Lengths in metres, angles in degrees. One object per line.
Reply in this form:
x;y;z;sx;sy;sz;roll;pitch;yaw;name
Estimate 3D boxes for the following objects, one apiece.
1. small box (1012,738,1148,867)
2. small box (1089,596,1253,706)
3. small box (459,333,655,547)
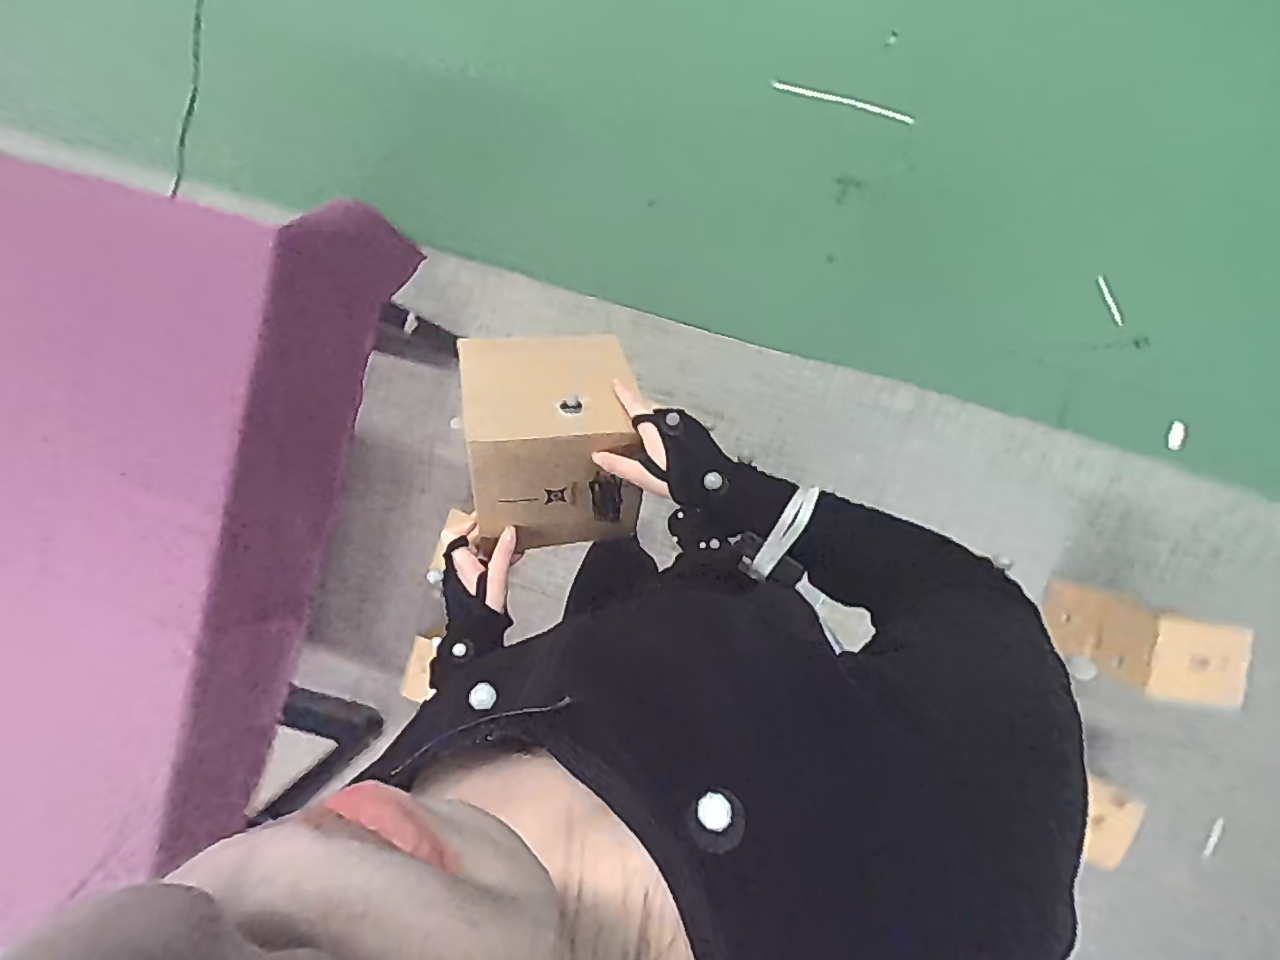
1.065;0.782;1.329;0.168;0.176;0.179;24;94;3;small box
1.108;0.352;1.145;0.179;0.176;0.168;7;93;4;small box
-0.099;-0.049;0.598;0.179;0.168;0.176;-5;49;-16;small box
